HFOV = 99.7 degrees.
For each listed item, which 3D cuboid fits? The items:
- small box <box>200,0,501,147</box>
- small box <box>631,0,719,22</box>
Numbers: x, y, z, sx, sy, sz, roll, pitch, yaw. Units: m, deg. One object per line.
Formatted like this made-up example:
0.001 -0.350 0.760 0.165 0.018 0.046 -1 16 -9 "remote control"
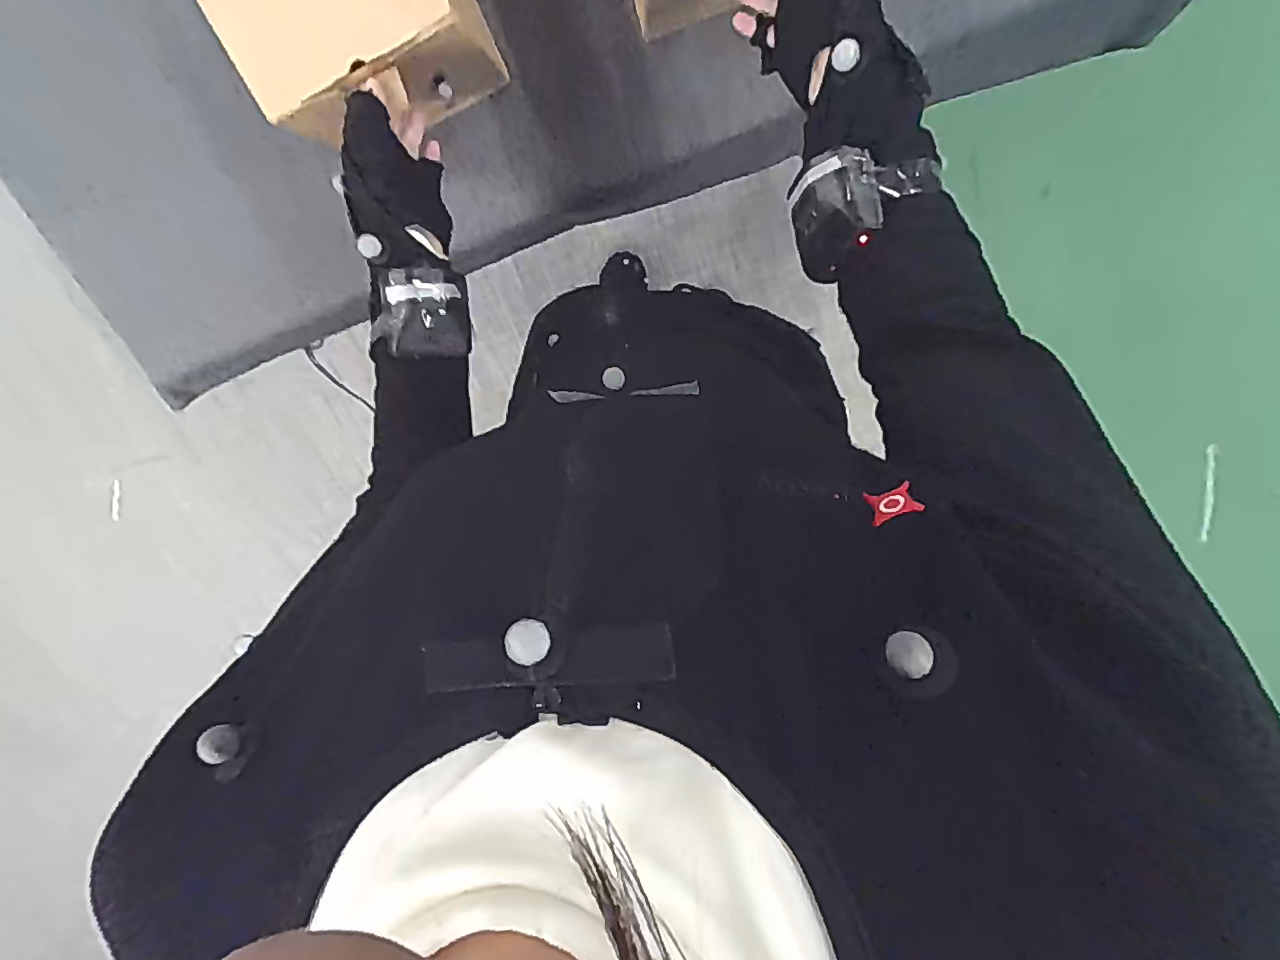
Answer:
-0.239 -0.405 0.448 0.168 0.176 0.179 -22 110 10 "small box"
0.051 -0.486 0.403 0.168 0.176 0.179 -16 114 8 "small box"
